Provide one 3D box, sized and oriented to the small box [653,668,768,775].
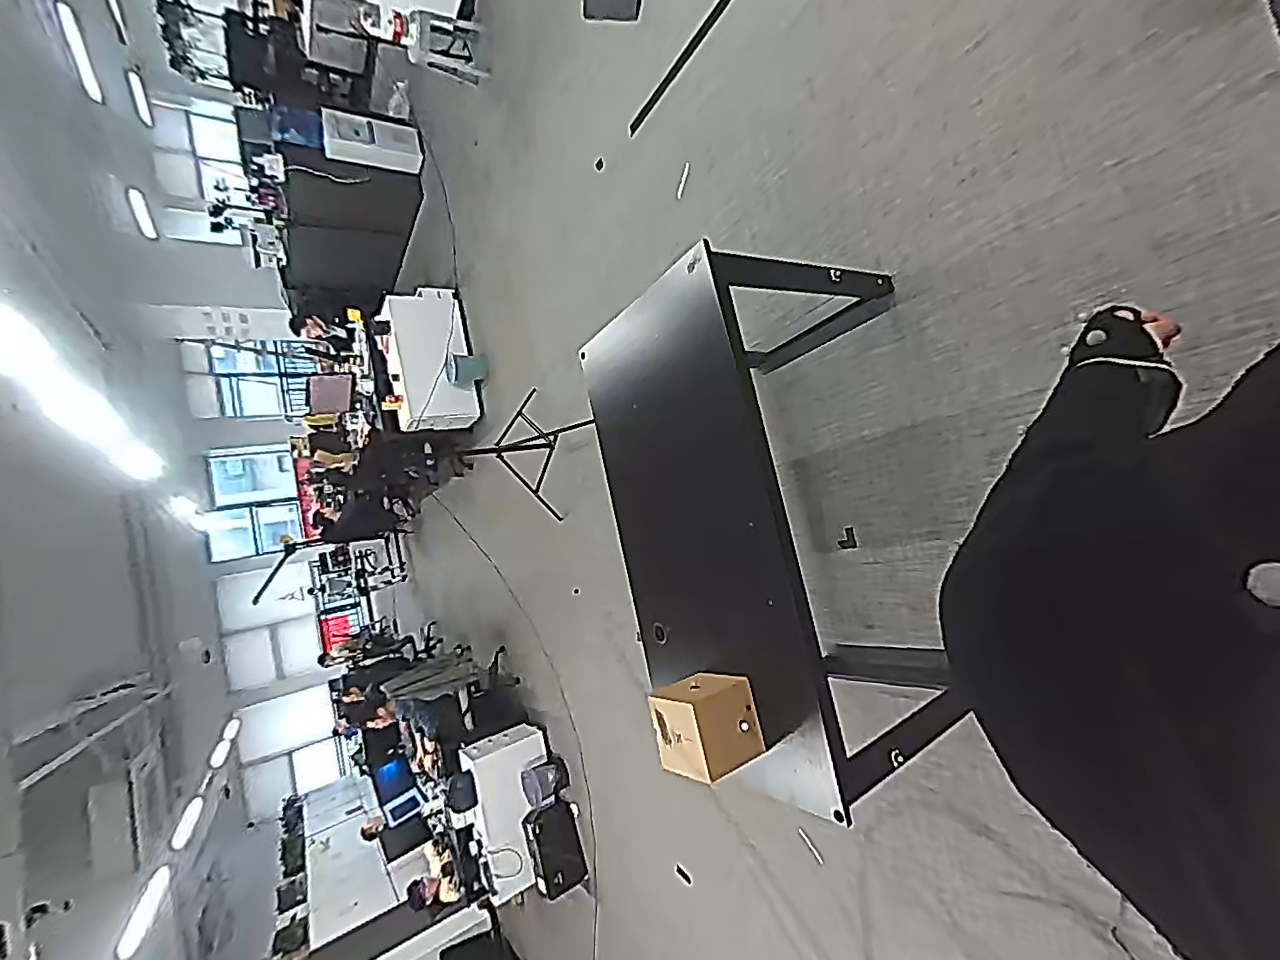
[{"bbox_3d":[0.159,0.536,1.229,0.179,0.176,0.168,-24,78,55],"label":"small box"}]
